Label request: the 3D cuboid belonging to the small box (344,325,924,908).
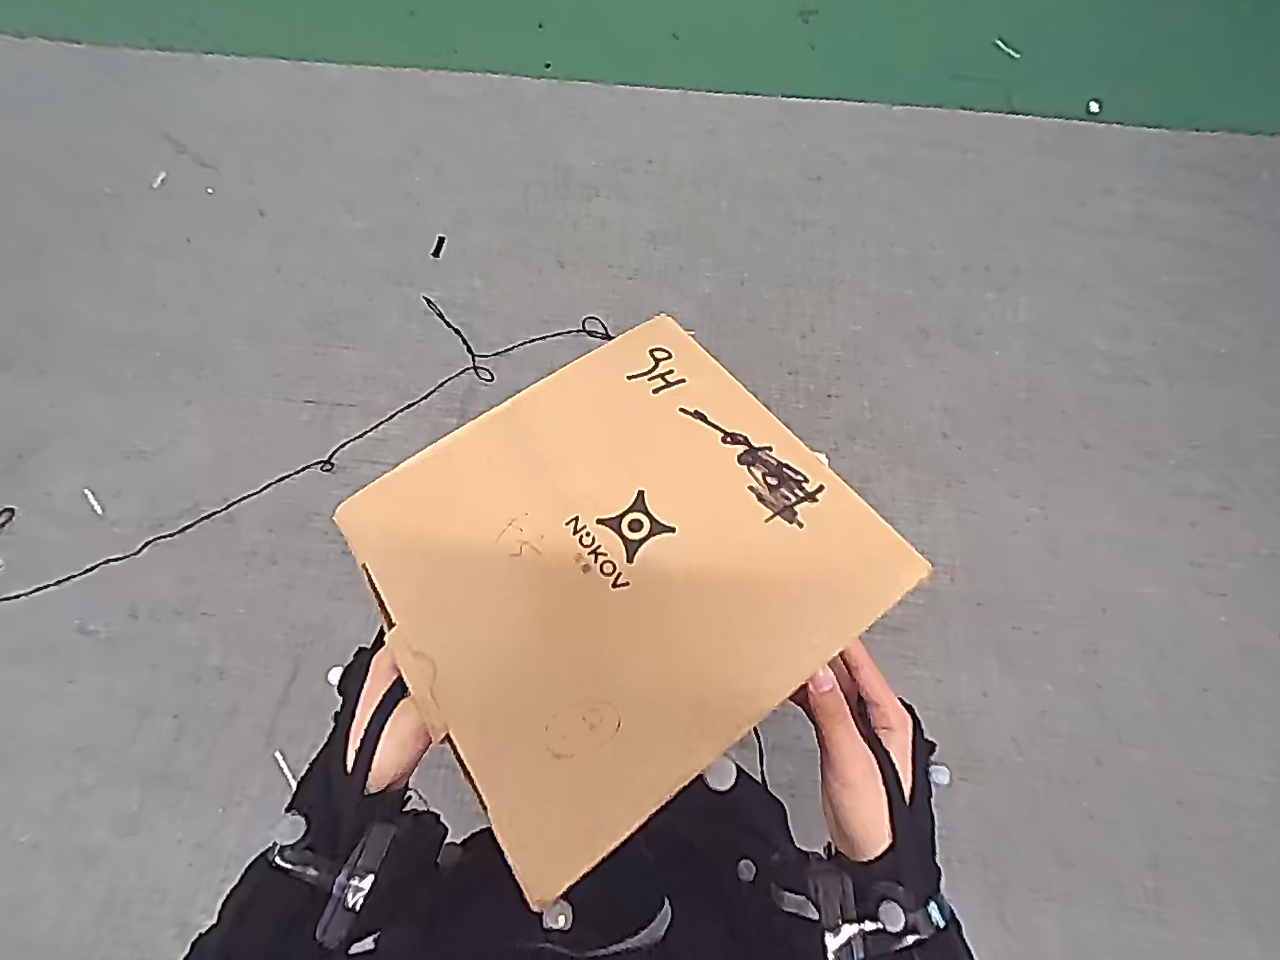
[{"bbox_3d":[-0.003,0.064,0.282,0.179,0.176,0.168,-34,66,-13],"label":"small box"}]
